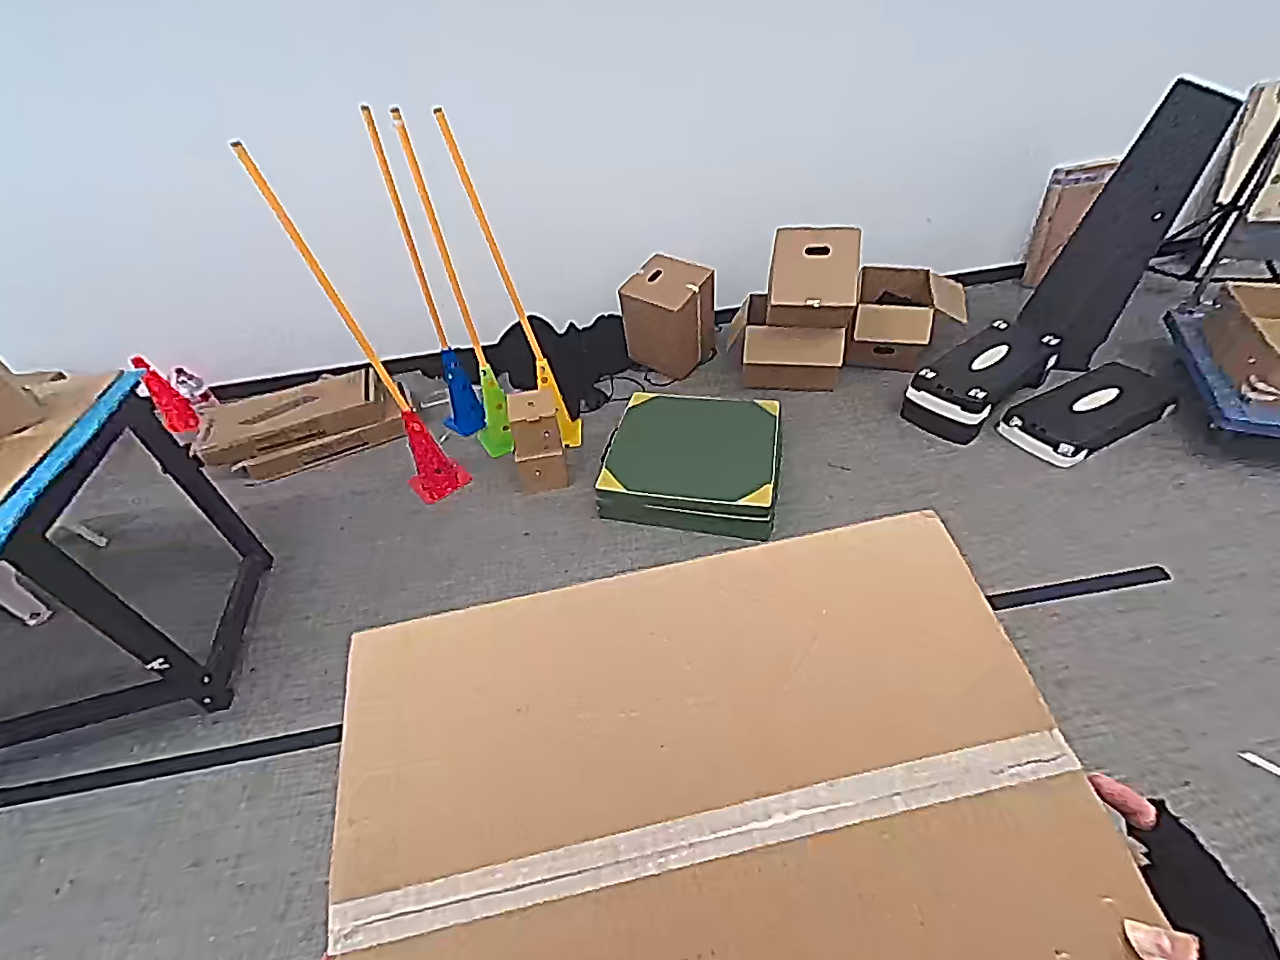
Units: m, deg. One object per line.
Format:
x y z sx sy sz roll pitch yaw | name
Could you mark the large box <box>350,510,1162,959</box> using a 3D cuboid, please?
0.047 0.267 0.430 0.408 0.320 0.320 -12 60 -3 | large box
